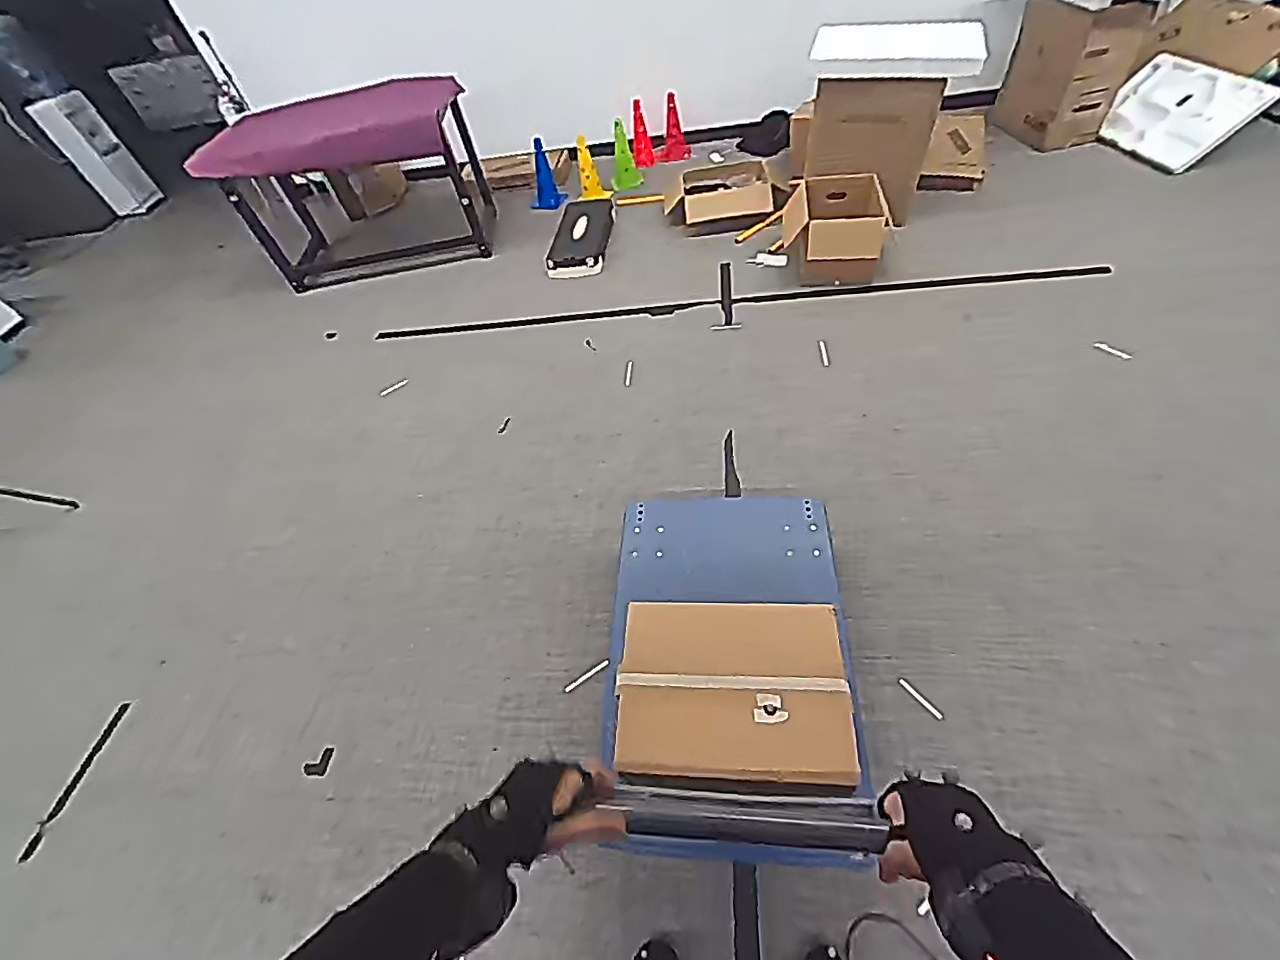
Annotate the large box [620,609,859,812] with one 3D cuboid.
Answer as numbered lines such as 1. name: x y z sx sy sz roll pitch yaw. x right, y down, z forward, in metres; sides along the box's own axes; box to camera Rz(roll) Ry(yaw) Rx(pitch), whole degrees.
1. large box: 0.183 0.473 1.103 0.408 0.320 0.320 -1 52 7
